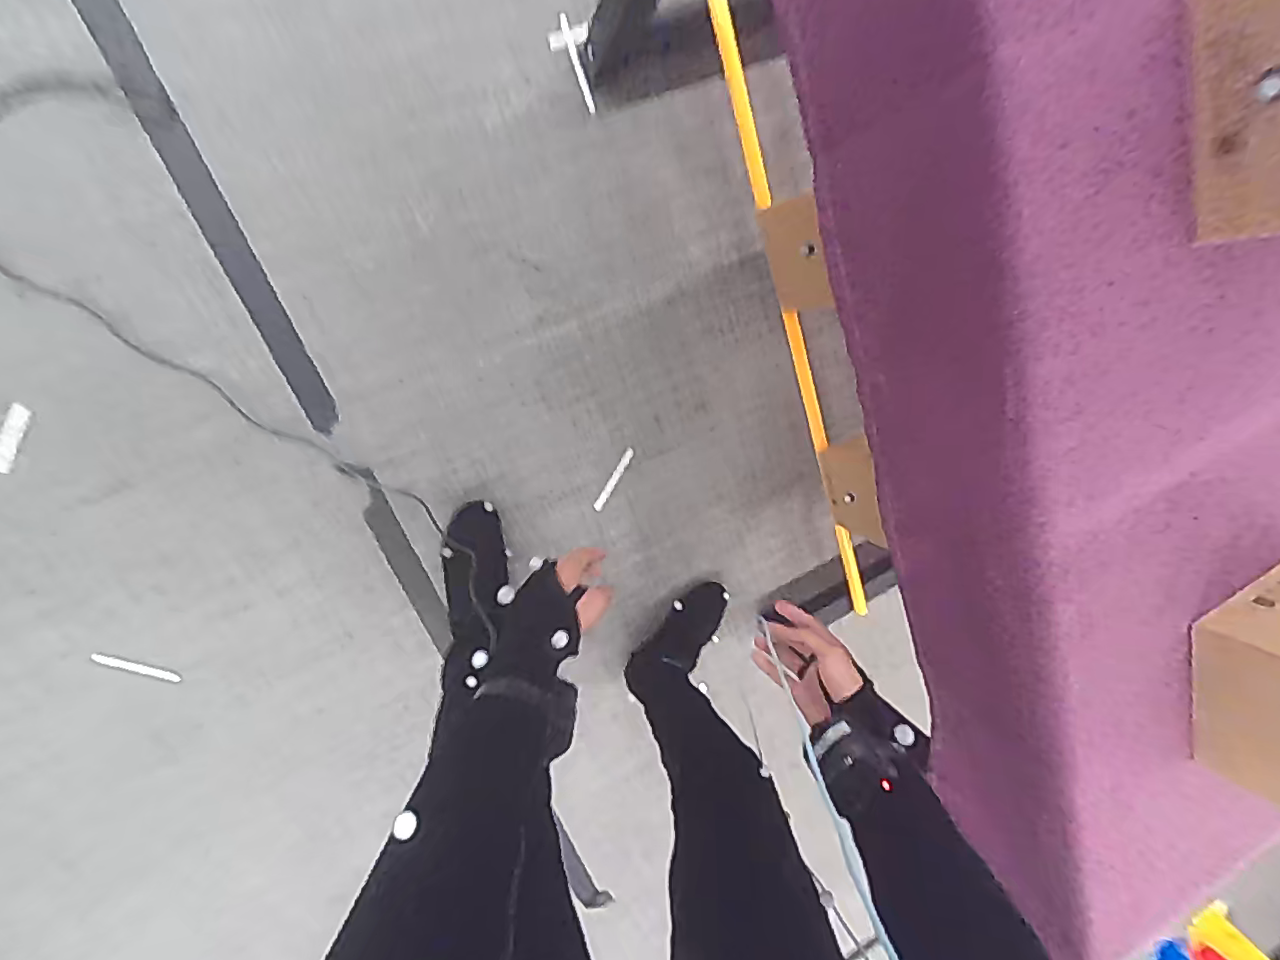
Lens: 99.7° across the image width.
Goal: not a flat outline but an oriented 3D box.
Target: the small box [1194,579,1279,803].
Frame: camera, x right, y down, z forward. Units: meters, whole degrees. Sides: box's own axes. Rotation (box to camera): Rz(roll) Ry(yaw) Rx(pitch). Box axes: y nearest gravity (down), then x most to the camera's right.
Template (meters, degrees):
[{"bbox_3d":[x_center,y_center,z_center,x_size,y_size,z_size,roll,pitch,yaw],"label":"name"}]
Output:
[{"bbox_3d":[0.616,0.191,0.449,0.168,0.176,0.179,-25,109,-10],"label":"small box"}]

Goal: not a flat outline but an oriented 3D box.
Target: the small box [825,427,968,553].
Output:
[{"bbox_3d":[0.476,0.010,1.027,0.179,0.176,0.168,-24,109,-12],"label":"small box"}]

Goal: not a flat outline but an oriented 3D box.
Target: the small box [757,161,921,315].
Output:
[{"bbox_3d":[0.318,-0.381,0.884,0.168,0.176,0.179,-26,110,-10],"label":"small box"}]
